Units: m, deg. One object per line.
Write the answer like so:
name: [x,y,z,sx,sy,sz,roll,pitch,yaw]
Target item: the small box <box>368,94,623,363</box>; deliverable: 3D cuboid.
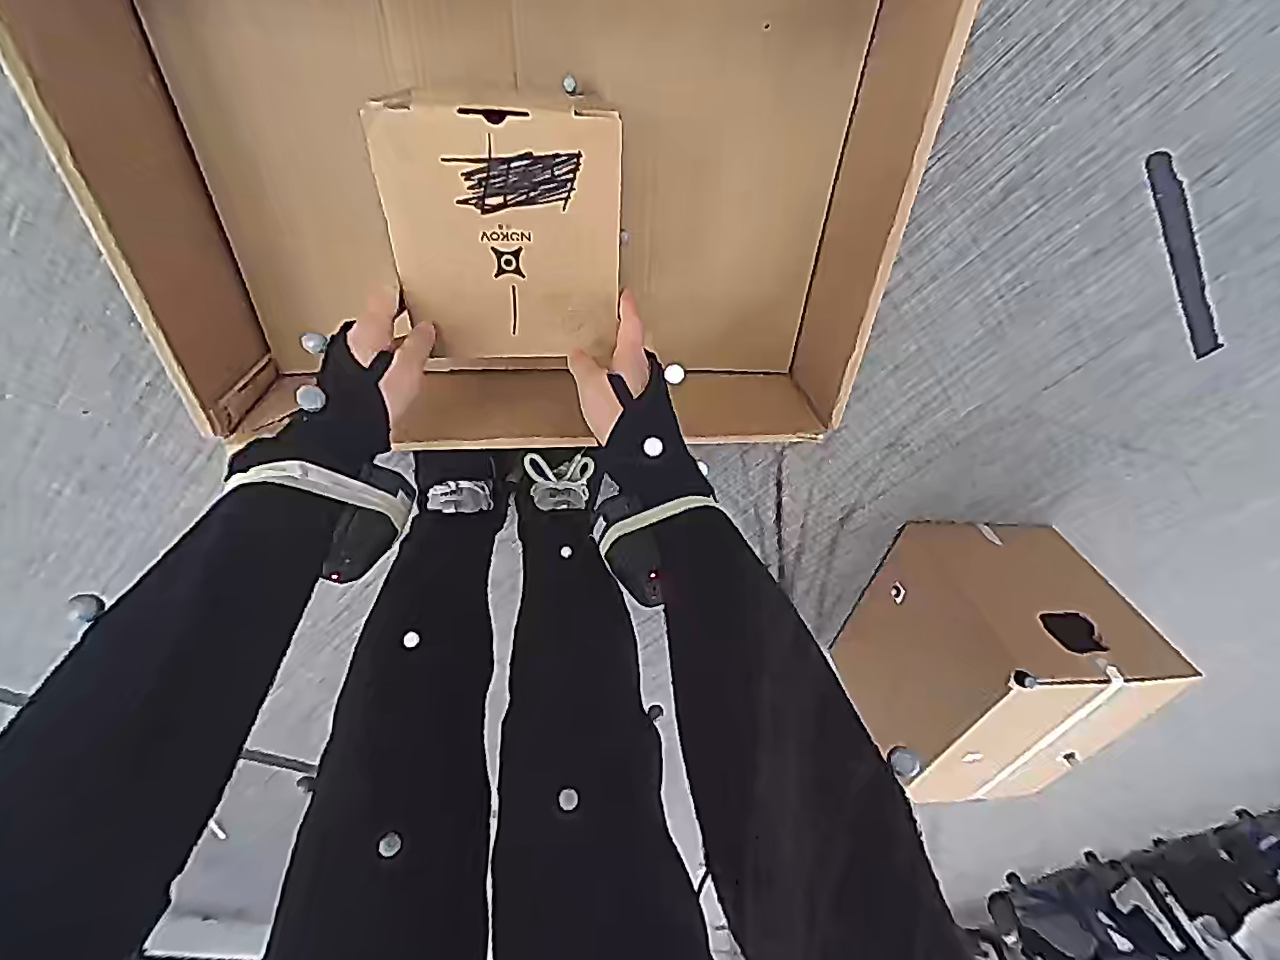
small box: [-0.108,-0.217,0.464,0.168,0.176,0.179,-2,130,-7]
